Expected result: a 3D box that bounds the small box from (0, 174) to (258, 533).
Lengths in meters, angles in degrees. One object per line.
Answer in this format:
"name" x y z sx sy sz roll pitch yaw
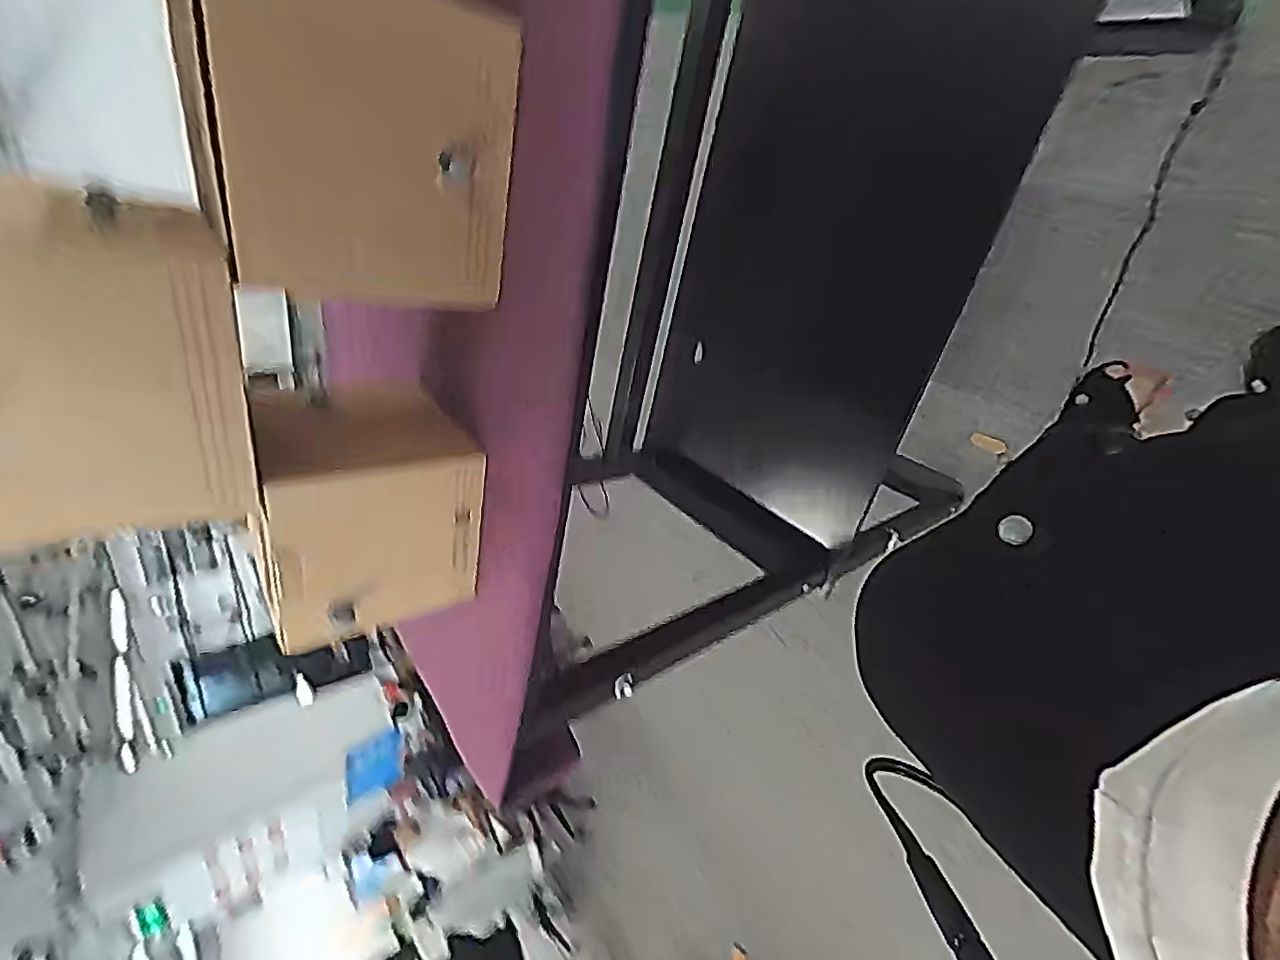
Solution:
"small box" -0.357 -0.080 0.340 0.168 0.176 0.179 39 126 38
